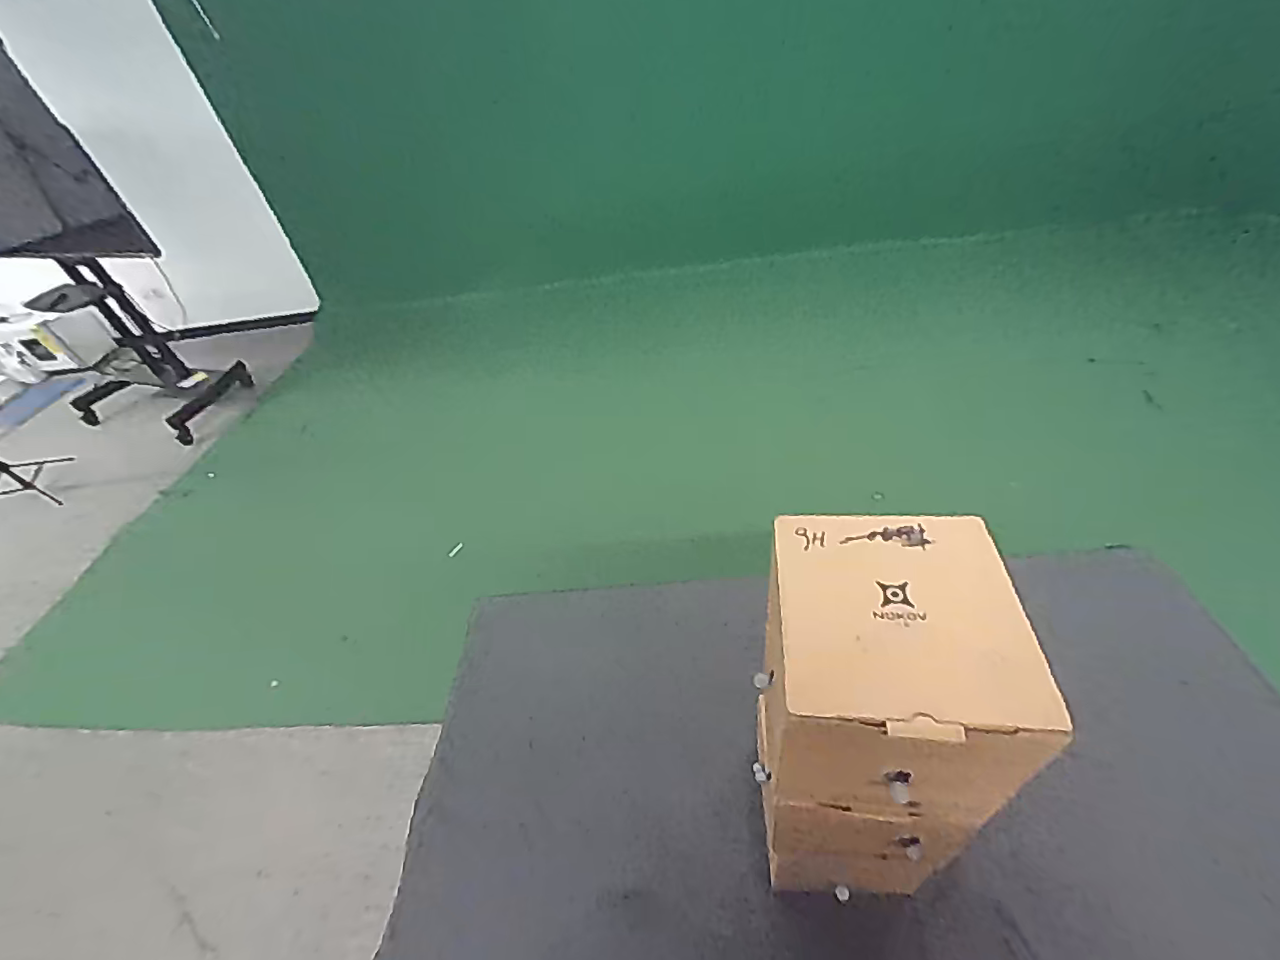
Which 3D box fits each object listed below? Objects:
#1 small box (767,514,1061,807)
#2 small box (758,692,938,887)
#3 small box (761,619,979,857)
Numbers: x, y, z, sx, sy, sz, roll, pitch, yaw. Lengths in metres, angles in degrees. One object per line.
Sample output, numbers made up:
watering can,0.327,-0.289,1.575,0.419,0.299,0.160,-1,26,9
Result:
small box,0.192,0.147,0.445,0.168,0.176,0.179,0,46,11
small box,0.237,0.378,0.670,0.168,0.176,0.179,-4,44,8
small box,0.213,0.265,0.557,0.168,0.176,0.179,-1,43,9
